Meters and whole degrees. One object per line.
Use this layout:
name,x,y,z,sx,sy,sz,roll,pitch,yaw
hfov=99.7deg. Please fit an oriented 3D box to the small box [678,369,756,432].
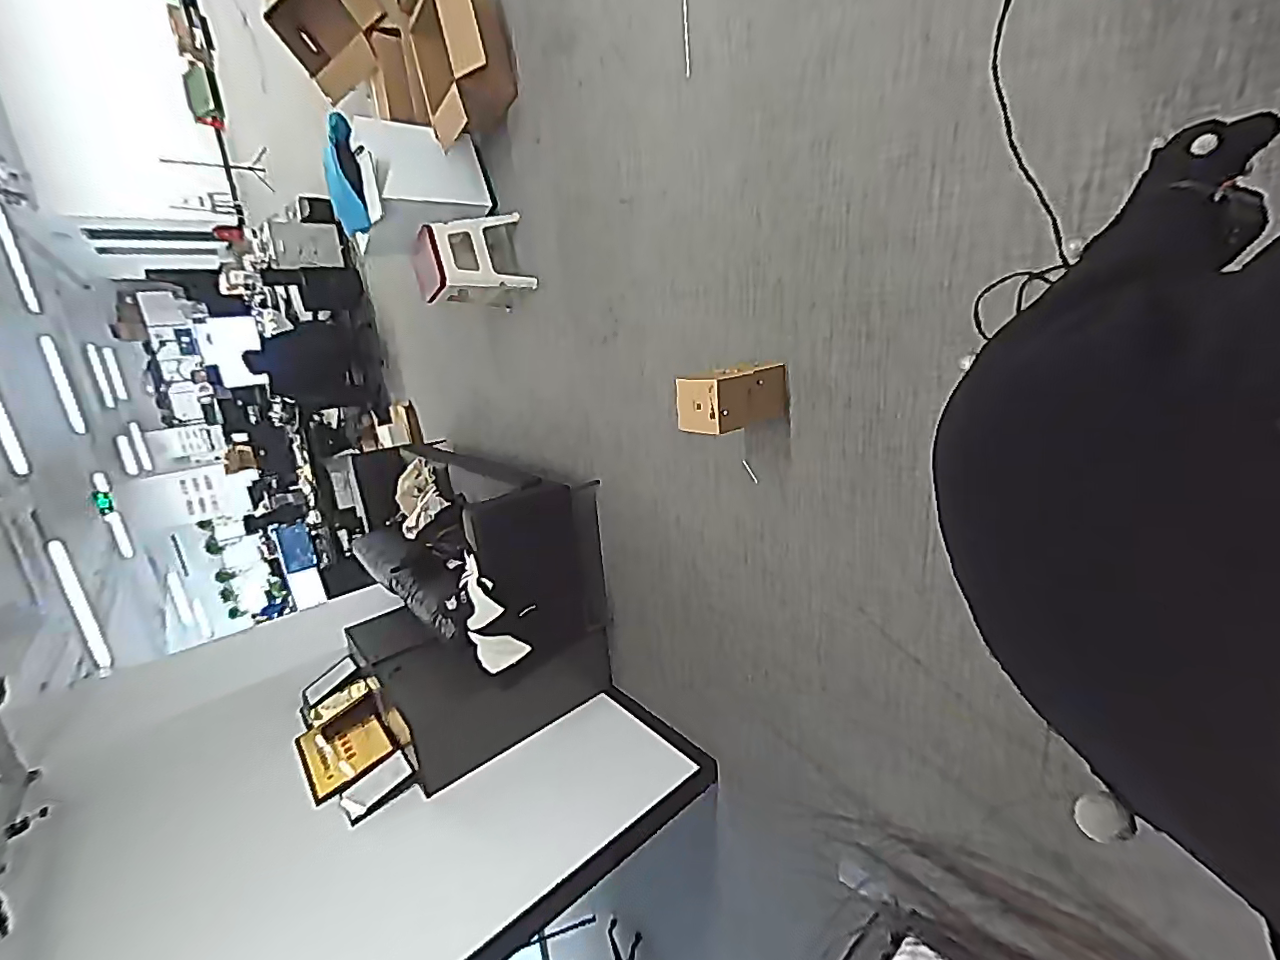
small box,0.241,-0.254,1.688,0.179,0.176,0.168,16,116,49

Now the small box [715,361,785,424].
small box,0.366,-0.294,1.788,0.168,0.176,0.179,15,115,48
